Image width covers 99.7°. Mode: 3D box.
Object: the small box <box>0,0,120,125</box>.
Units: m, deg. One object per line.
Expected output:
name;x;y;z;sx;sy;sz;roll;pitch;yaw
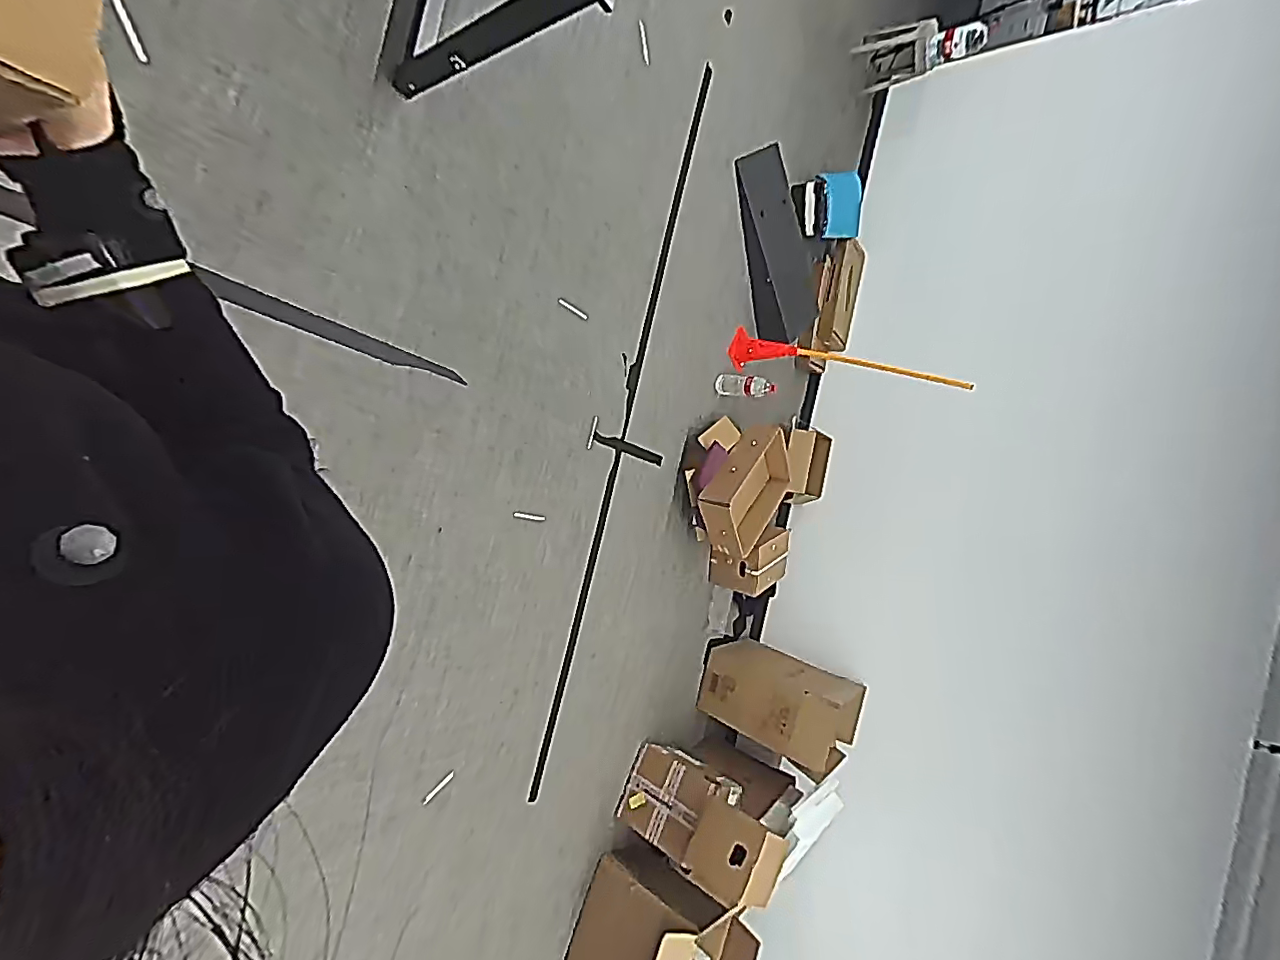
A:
small box;-0.321;-0.264;0.198;0.168;0.176;0.179;8;95;-62
